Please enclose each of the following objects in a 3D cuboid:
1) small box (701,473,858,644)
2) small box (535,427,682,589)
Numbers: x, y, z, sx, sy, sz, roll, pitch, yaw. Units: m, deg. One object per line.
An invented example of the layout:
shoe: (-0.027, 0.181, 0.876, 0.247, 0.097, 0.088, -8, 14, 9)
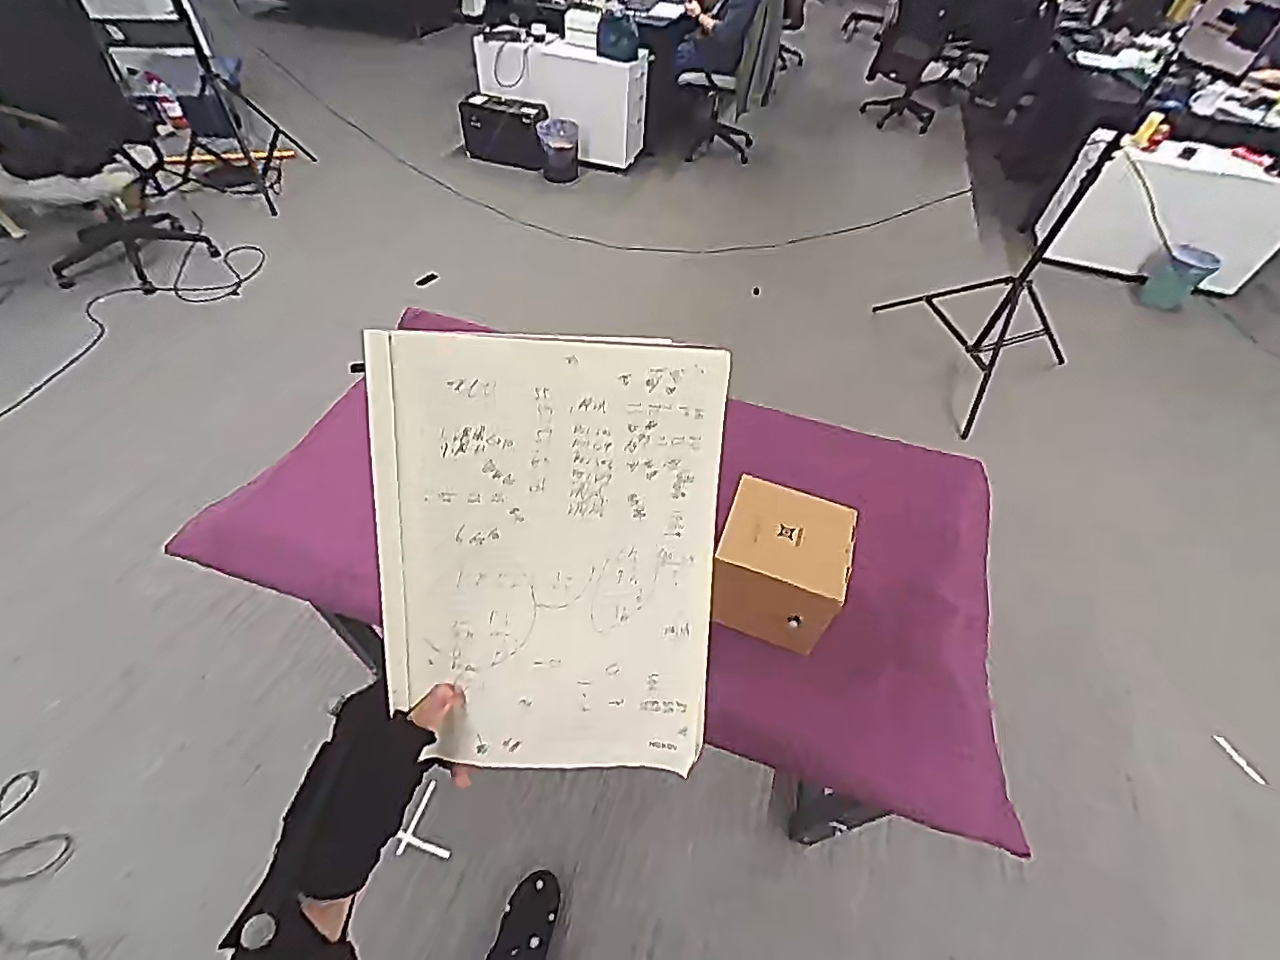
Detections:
small box: (0.205, 0.122, 0.812, 0.179, 0.176, 0.168, 17, 49, 12)
small box: (-0.047, 0.049, 0.852, 0.179, 0.176, 0.168, 16, 50, 8)
